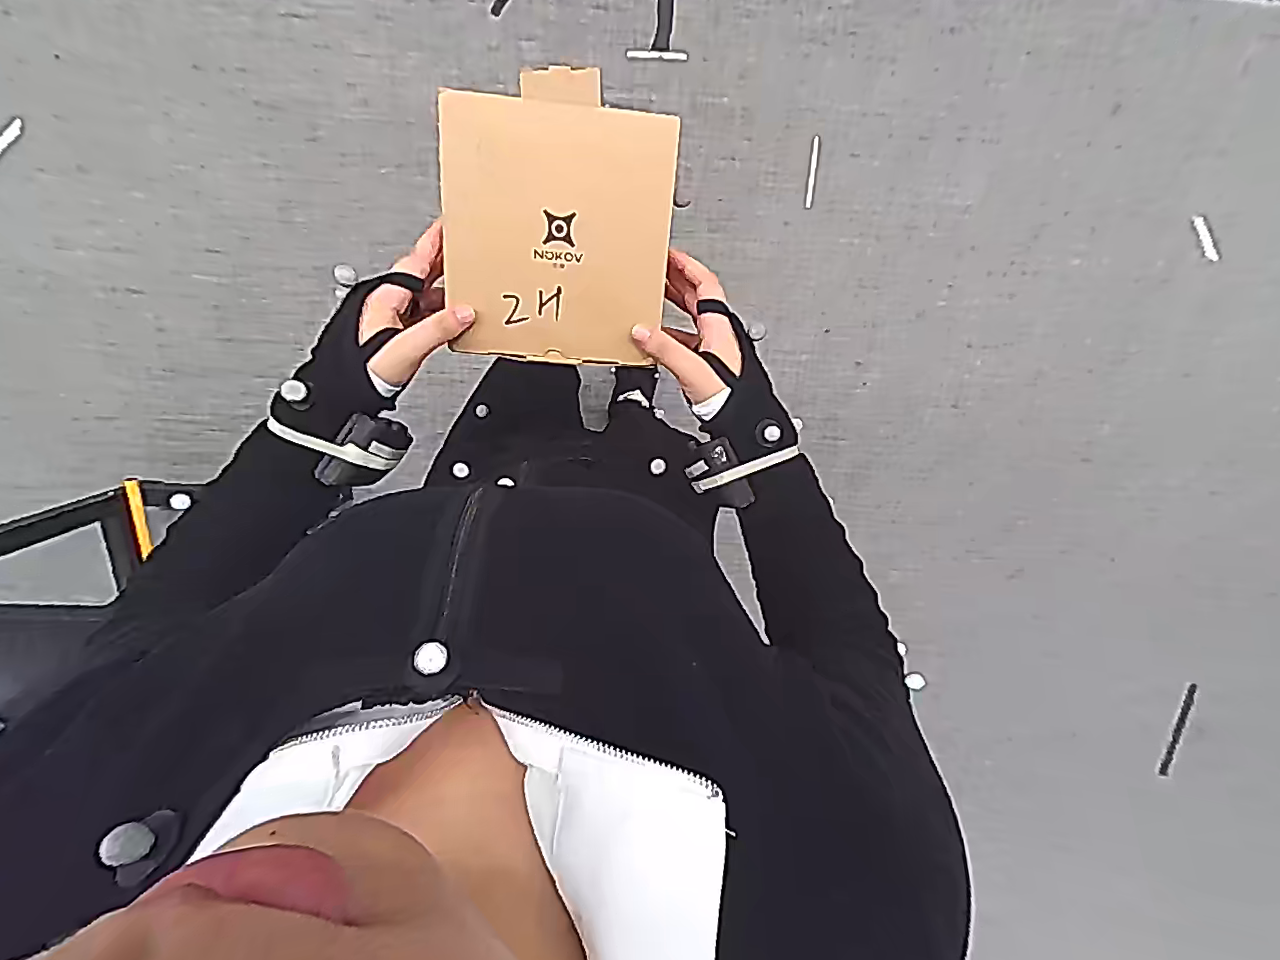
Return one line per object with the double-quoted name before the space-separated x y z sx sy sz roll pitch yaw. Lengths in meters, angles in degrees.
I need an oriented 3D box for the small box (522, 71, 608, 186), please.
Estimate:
"small box" -0.159 -0.764 1.190 0.168 0.176 0.179 -1 107 1
